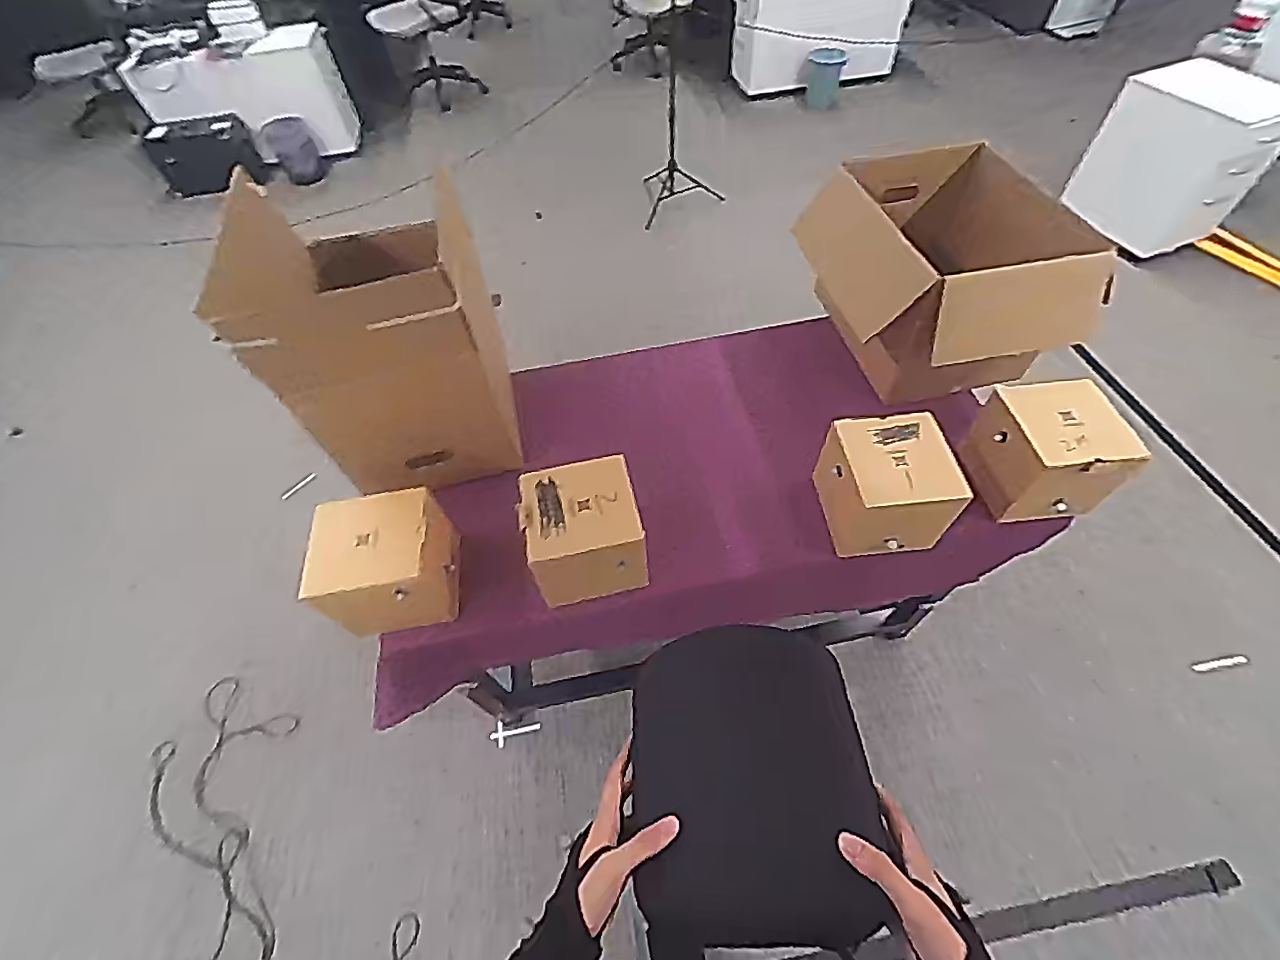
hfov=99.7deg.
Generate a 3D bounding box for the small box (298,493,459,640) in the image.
[{"bbox_3d":[-0.413,0.147,0.886,0.179,0.176,0.168,-10,54,-4],"label":"small box"}]

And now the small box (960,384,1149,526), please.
[{"bbox_3d":[0.697,-0.041,0.940,0.168,0.176,0.179,-6,54,1],"label":"small box"}]
